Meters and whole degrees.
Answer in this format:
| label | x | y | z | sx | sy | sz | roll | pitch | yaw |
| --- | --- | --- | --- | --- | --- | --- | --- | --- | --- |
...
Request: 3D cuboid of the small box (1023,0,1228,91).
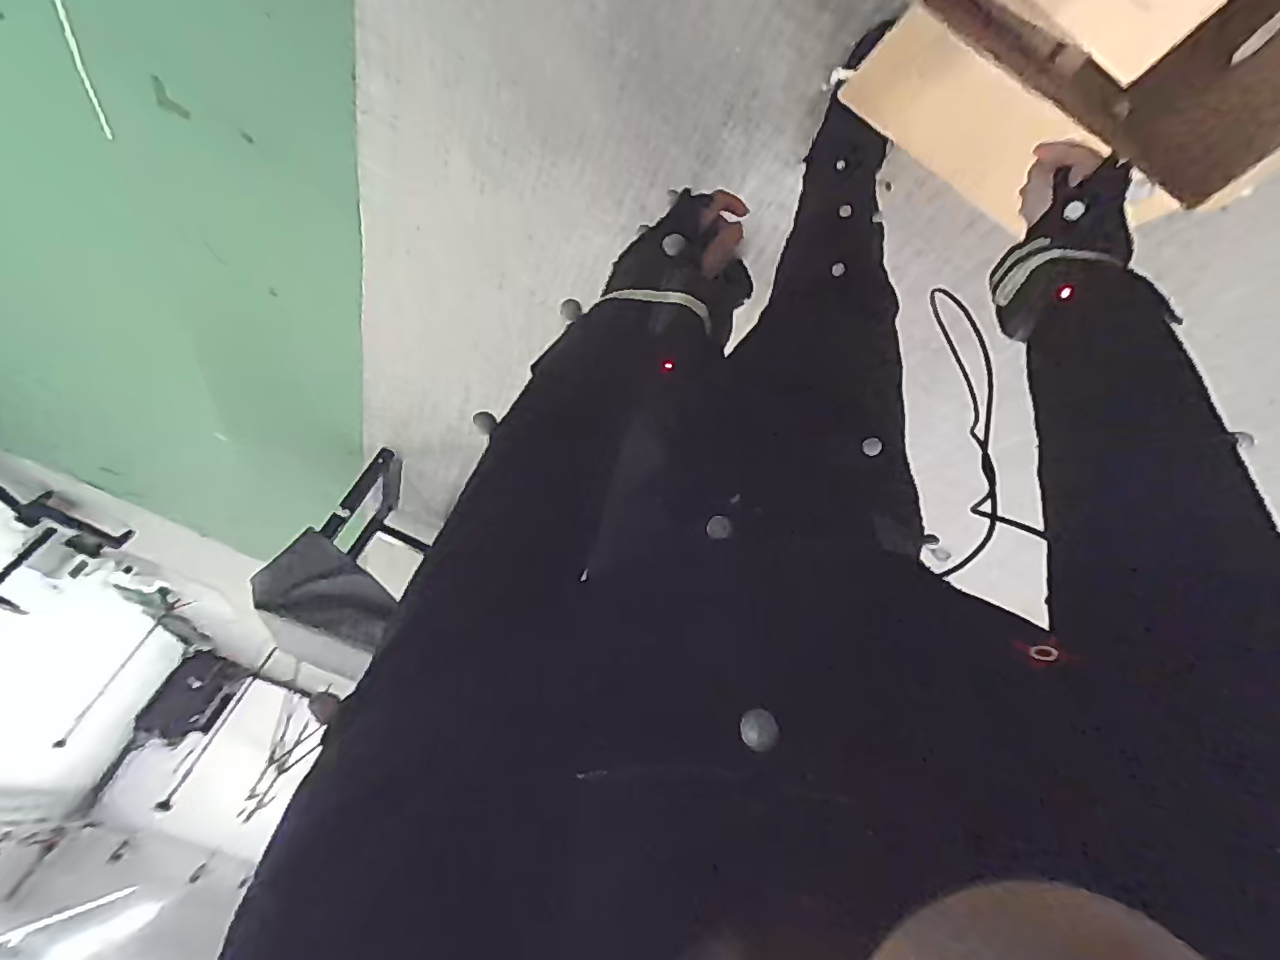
| label | x | y | z | sx | sy | sz | roll | pitch | yaw |
| --- | --- | --- | --- | --- | --- | --- | --- | --- | --- |
| small box | 0.473 | -0.527 | 0.503 | 0.168 | 0.176 | 0.179 | 27 | 146 | -14 |
